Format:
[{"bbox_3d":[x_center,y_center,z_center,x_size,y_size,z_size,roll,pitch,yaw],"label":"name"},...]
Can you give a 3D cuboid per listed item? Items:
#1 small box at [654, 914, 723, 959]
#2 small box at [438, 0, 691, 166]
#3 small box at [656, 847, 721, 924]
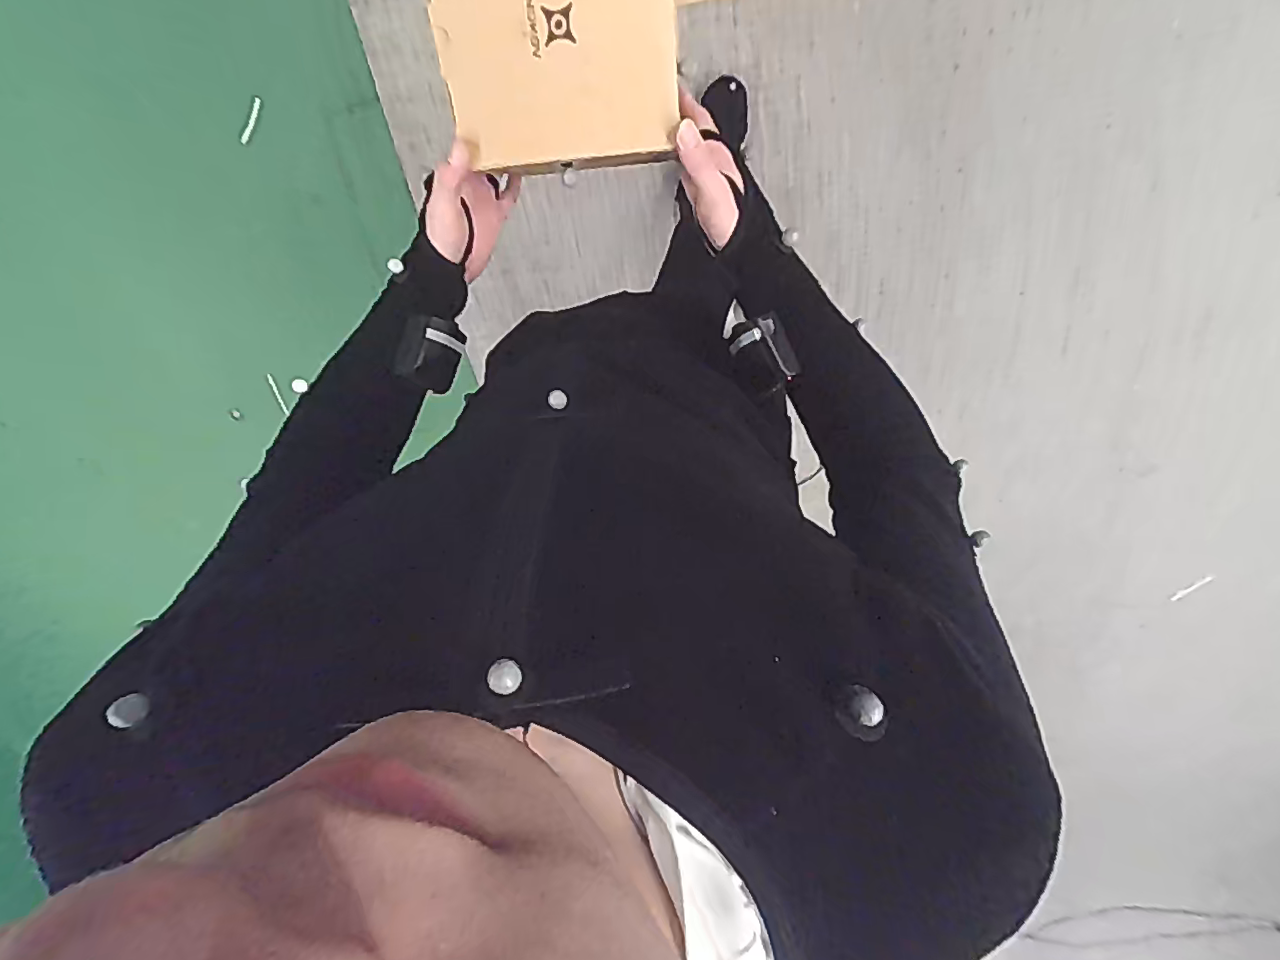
[{"bbox_3d":[0.125,1.253,1.392,0.179,0.176,0.168,-1,121,6],"label":"small box"},{"bbox_3d":[-0.048,-0.363,0.448,0.179,0.176,0.168,-2,119,8],"label":"small box"},{"bbox_3d":[0.136,1.170,1.532,0.179,0.176,0.168,0,121,6],"label":"small box"}]
